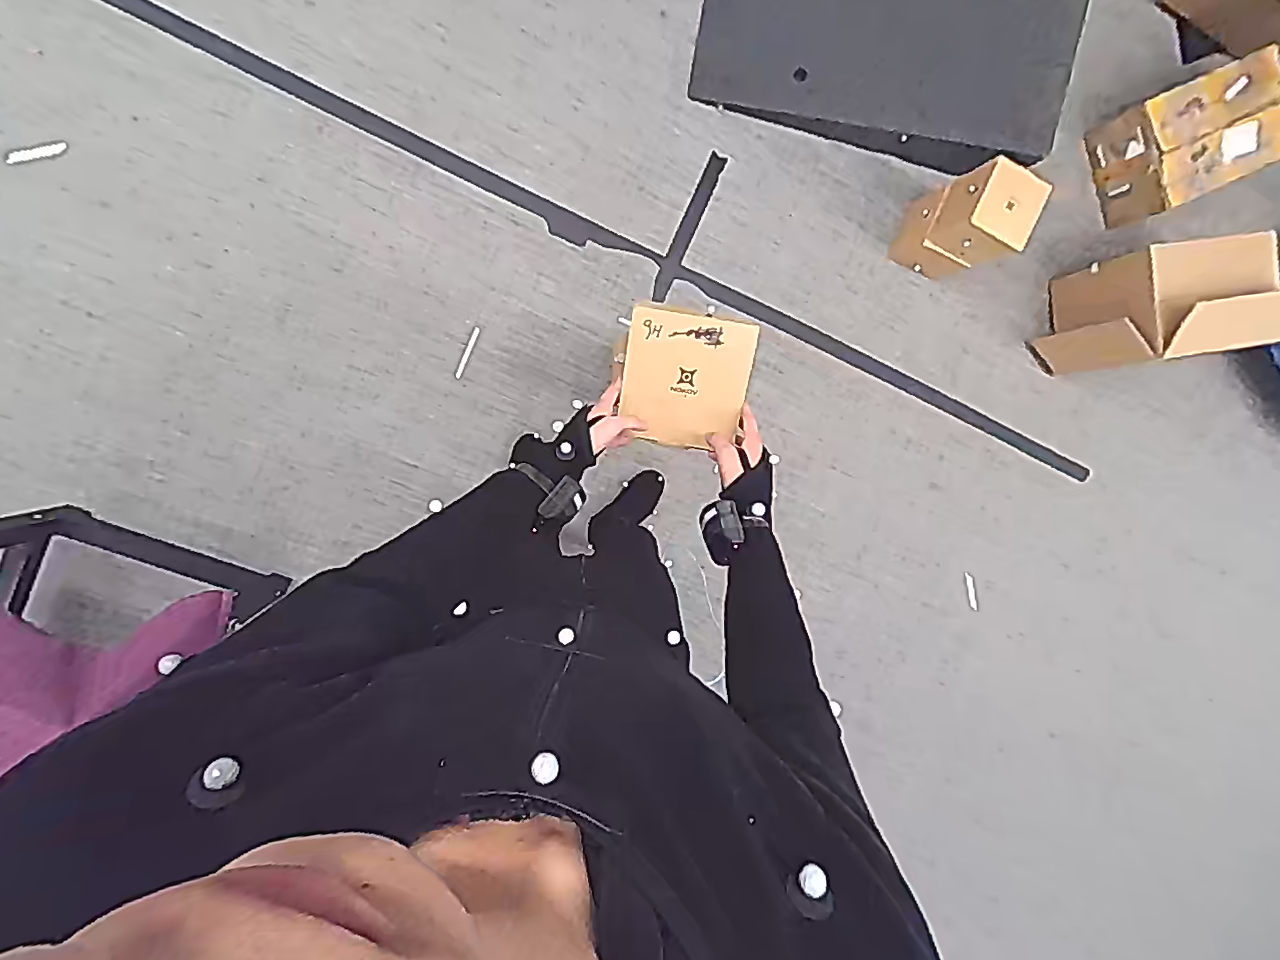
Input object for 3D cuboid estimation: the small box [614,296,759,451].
[{"bbox_3d":[0.062,-0.162,0.789,0.168,0.176,0.179,10,111,-2],"label":"small box"}]
